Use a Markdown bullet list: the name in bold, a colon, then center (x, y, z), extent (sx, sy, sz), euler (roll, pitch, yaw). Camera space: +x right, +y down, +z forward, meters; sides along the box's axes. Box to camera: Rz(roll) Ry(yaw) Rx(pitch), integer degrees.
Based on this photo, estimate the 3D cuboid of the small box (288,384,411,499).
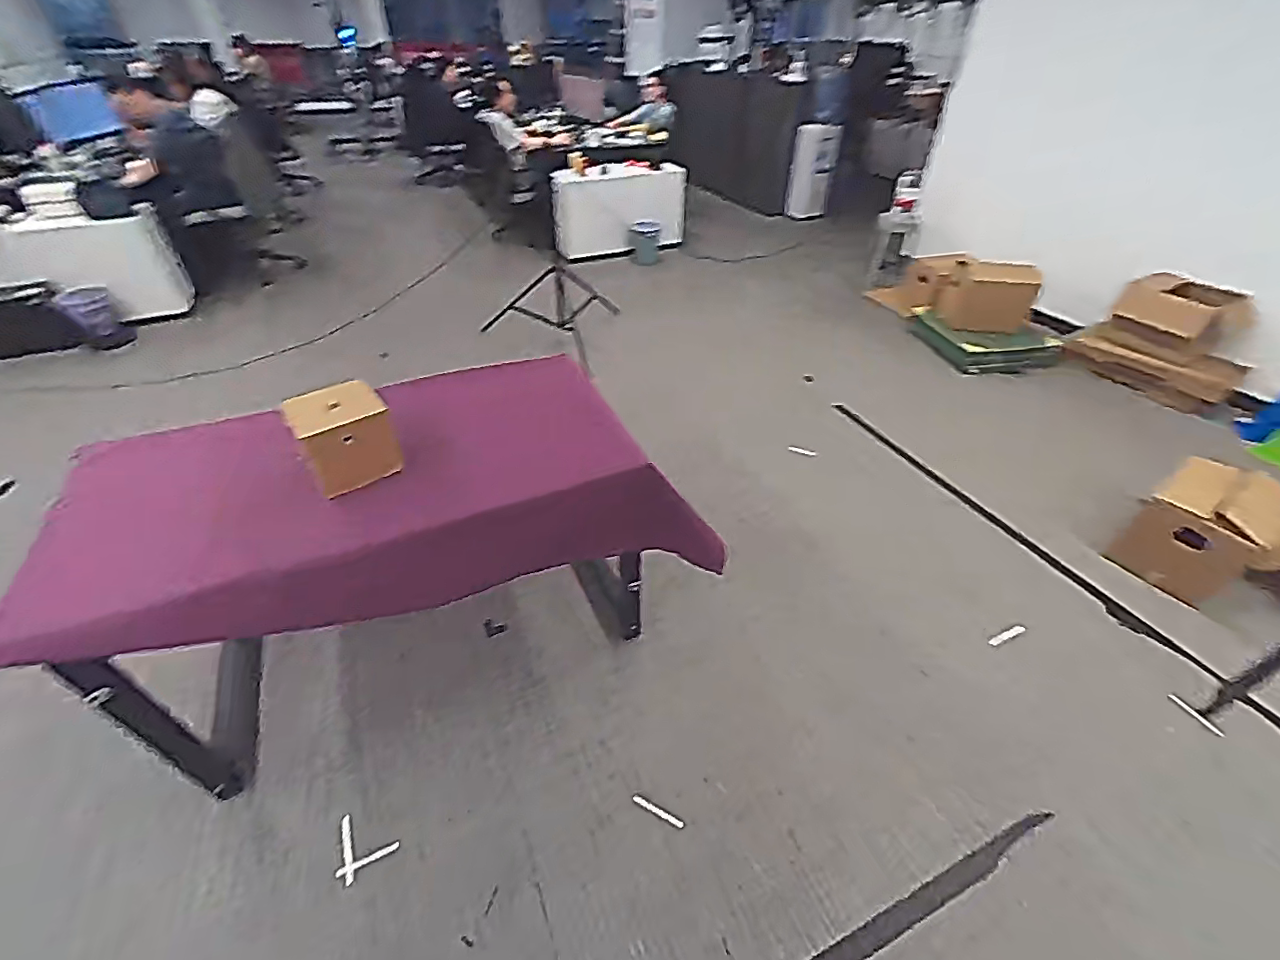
- **small box**: center (-0.646, -0.085, 1.214), extent (0.179, 0.176, 0.168), euler (-27, 48, -29)
